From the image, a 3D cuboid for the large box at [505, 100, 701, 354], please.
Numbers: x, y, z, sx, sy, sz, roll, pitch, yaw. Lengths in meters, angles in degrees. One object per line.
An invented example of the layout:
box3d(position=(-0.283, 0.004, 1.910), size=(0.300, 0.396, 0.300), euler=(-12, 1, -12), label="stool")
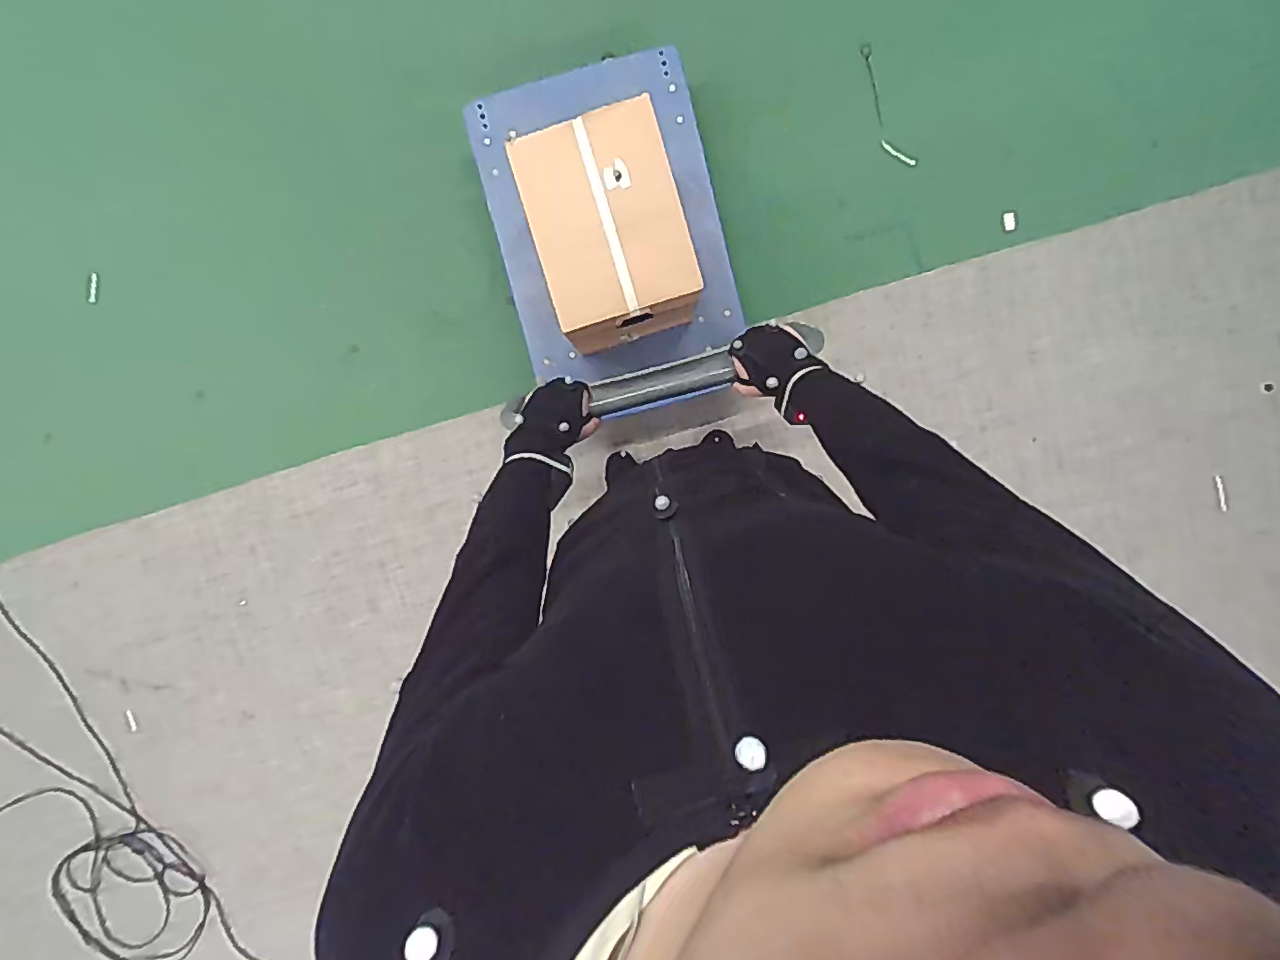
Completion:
box3d(position=(-0.070, -0.554, 1.269), size=(0.320, 0.320, 0.408), euler=(-17, 94, 3), label="large box")
